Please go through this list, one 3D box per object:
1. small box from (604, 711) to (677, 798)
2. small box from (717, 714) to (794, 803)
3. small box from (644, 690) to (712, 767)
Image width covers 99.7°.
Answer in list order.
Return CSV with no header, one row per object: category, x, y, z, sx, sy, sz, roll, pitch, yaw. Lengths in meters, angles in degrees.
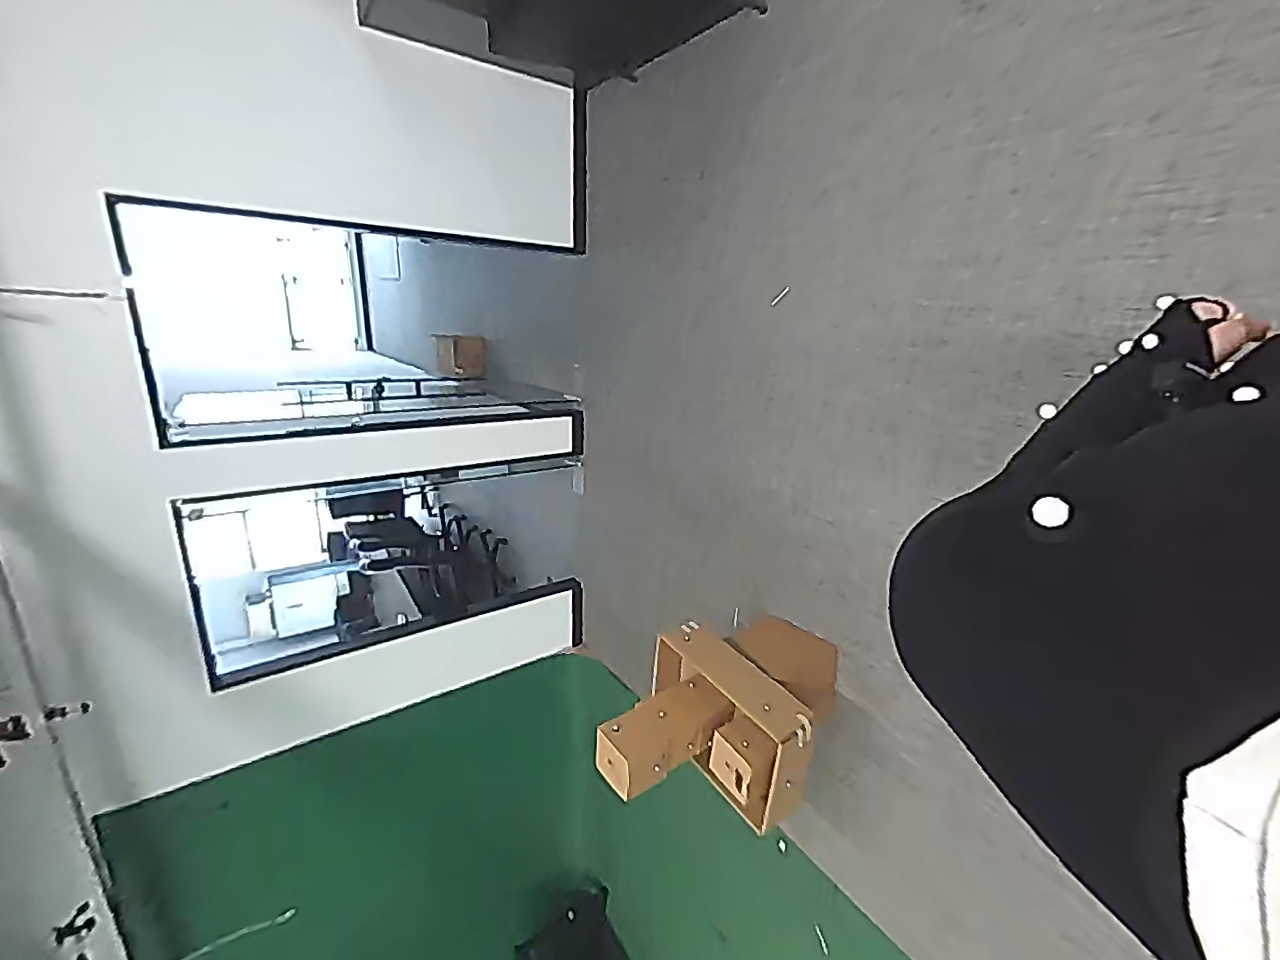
small box,0.000,0.892,1.783,0.179,0.176,0.168,24,118,48
small box,0.385,0.918,1.801,0.179,0.176,0.168,31,122,51
small box,0.124,0.864,1.889,0.179,0.176,0.168,27,119,48
